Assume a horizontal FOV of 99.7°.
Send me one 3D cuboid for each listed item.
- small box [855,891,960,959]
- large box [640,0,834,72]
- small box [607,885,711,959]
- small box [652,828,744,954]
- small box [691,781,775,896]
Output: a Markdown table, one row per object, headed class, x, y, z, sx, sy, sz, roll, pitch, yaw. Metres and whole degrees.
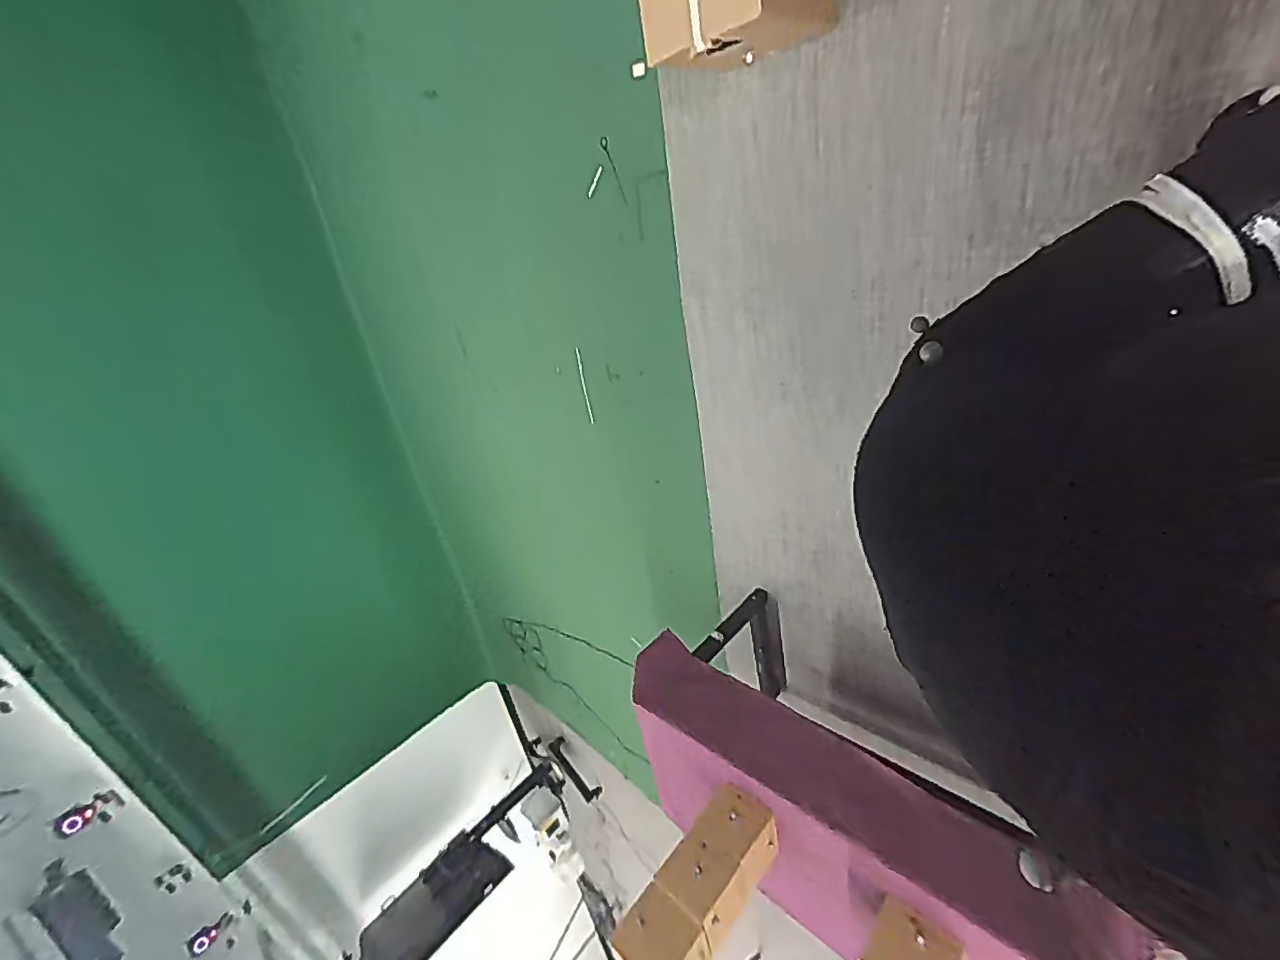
| class | x | y | z | sx | sy | sz | roll | pitch | yaw |
| --- | --- | --- | --- | --- | --- | --- | --- | --- | --- |
| small box | 0.598 | 1.088 | 1.212 | 0.168 | 0.176 | 0.179 | 16 | 126 | 42 |
| large box | 0.197 | -1.163 | 1.153 | 0.320 | 0.320 | 0.408 | 16 | 125 | 43 |
| small box | 0.050 | 1.152 | 1.331 | 0.179 | 0.176 | 0.168 | 14 | 127 | 42 |
| small box | 0.157 | 1.076 | 1.429 | 0.168 | 0.176 | 0.179 | 15 | 127 | 43 |
| small box | 0.266 | 1.003 | 1.529 | 0.168 | 0.176 | 0.179 | 15 | 126 | 43 |
